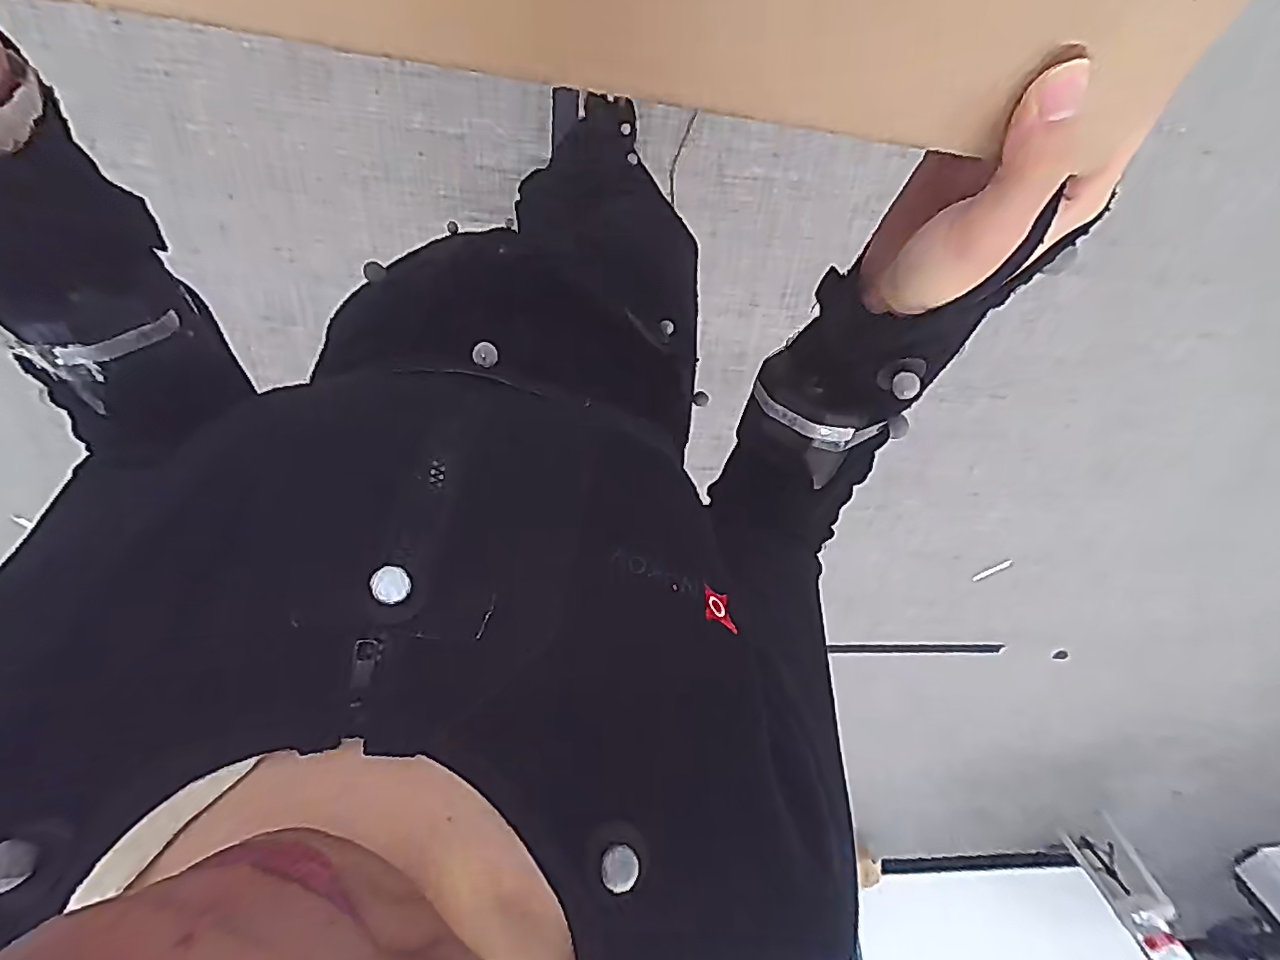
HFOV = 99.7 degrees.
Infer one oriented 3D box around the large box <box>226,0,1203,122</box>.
[{"bbox_3d":[-0.019,-0.339,0.111,0.408,0.320,0.320,4,150,-7],"label":"large box"}]
